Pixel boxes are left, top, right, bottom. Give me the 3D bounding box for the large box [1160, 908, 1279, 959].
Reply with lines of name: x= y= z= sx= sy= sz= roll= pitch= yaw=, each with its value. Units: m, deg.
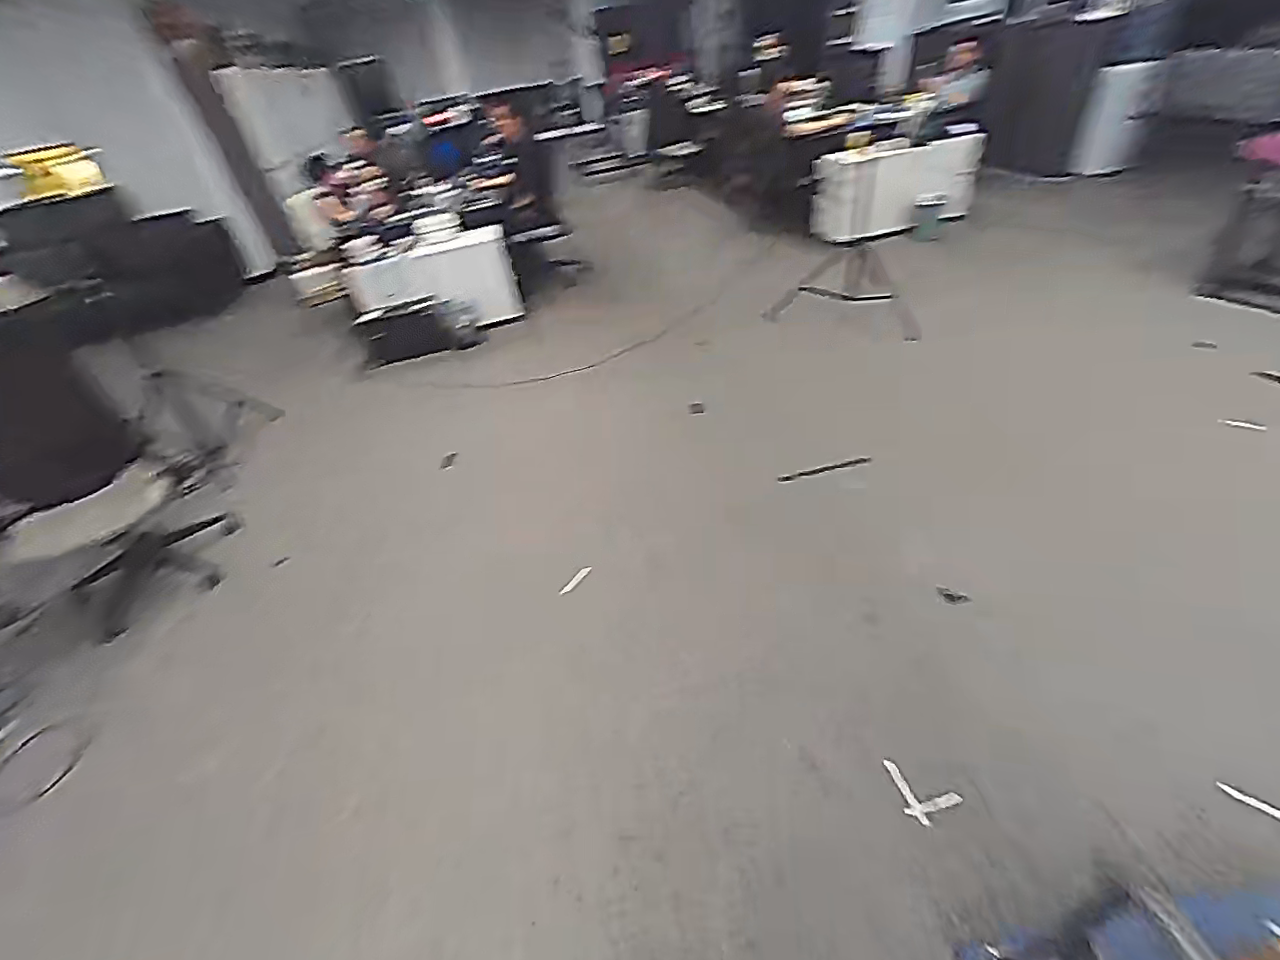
large box: x=1.032 y=0.820 z=0.694 sx=0.320 sy=0.320 sz=0.408 roll=-11 pitch=38 yaw=-1
